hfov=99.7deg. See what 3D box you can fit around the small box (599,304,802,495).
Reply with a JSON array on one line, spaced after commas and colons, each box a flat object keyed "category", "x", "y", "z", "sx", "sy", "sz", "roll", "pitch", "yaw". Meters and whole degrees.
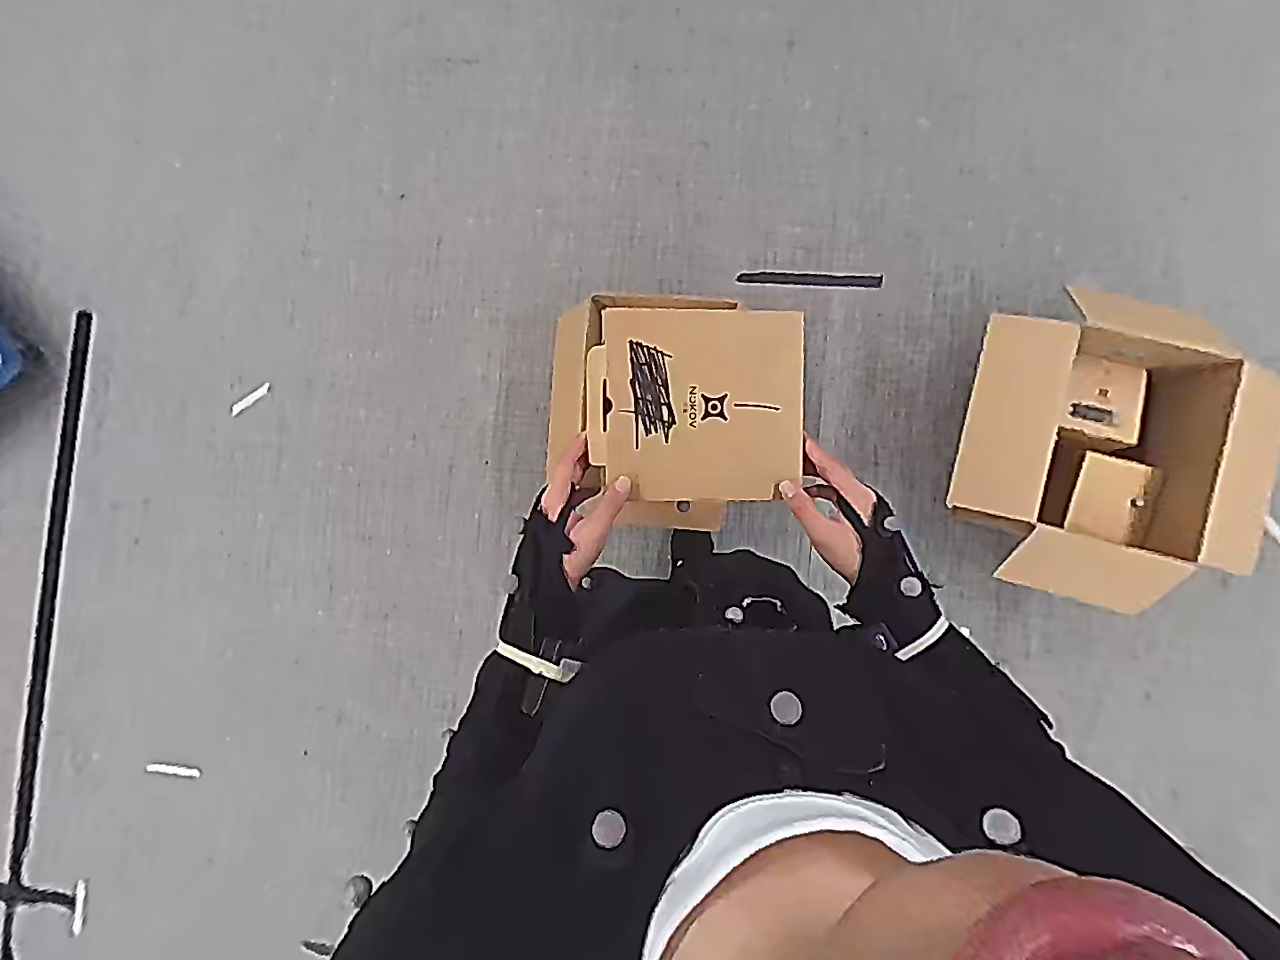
[{"category": "small box", "x": 0.050, "y": -0.072, "z": 0.547, "sx": 0.179, "sy": 0.176, "sz": 0.168, "roll": -1, "pitch": 93, "yaw": -3}]
